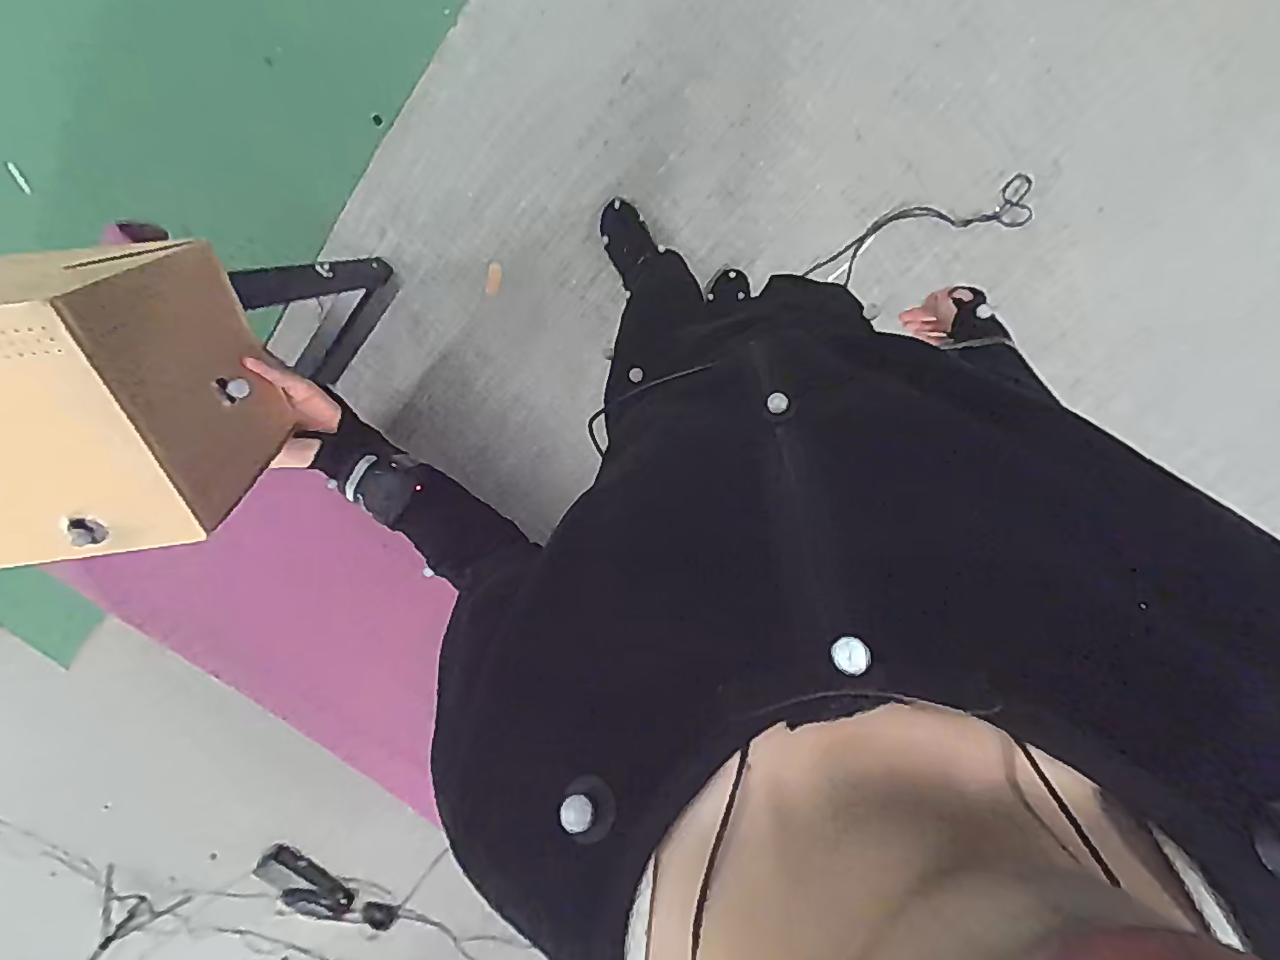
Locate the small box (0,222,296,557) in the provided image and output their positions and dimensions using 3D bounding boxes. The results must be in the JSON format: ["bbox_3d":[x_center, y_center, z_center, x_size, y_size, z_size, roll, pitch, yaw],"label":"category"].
[{"bbox_3d":[-0.385,-0.072,0.378,0.168,0.179,0.176,-8,127,-6],"label":"small box"}]
